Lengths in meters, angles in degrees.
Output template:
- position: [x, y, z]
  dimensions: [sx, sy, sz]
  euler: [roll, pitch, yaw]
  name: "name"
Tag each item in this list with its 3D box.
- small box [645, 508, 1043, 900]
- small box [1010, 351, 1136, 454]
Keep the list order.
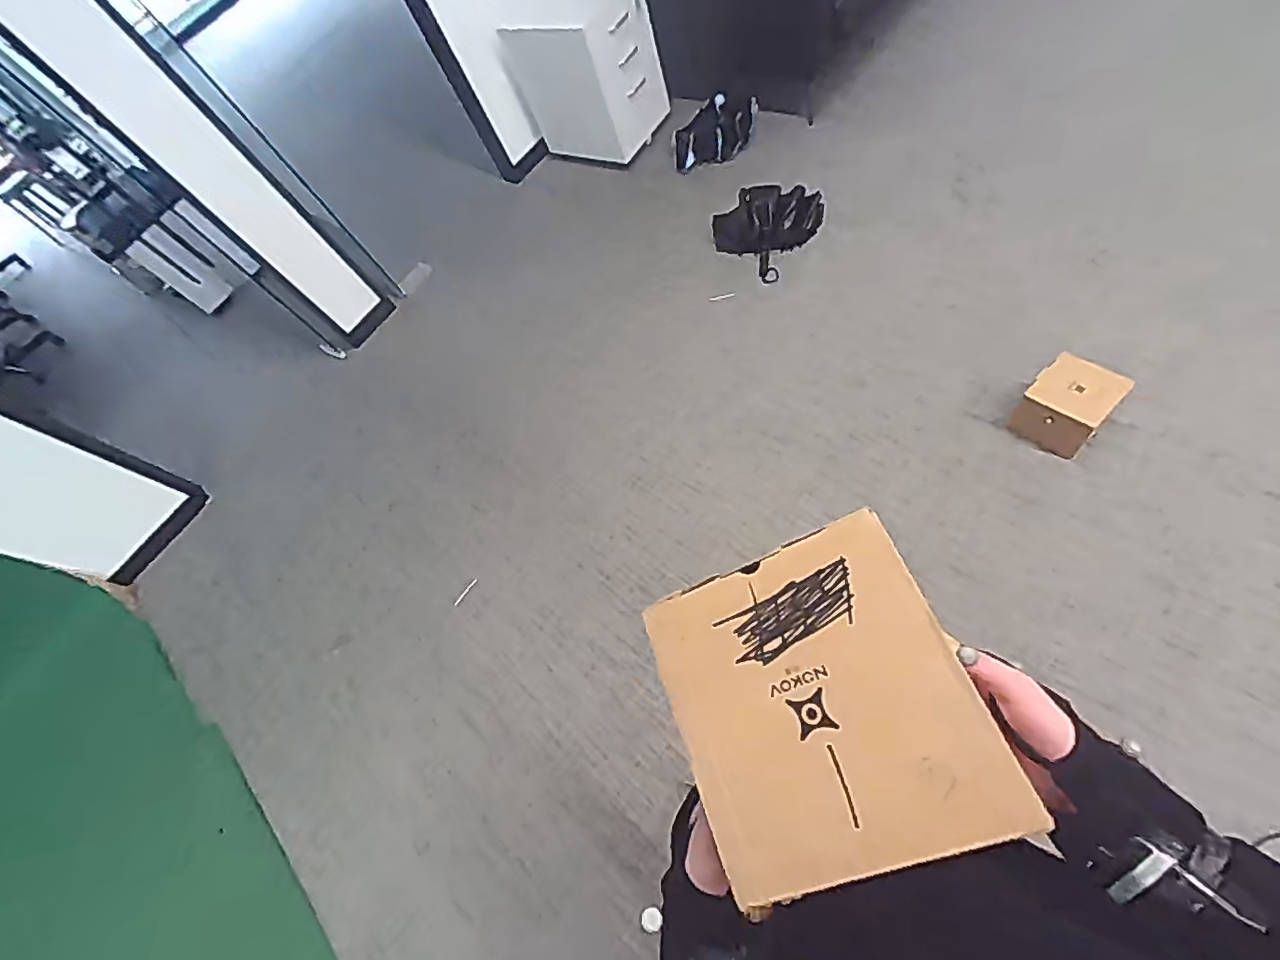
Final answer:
- position: [0.130, 0.148, 0.380]
  dimensions: [0.168, 0.176, 0.179]
  euler: [-29, 62, 17]
  name: "small box"
- position: [1.116, -0.197, 1.414]
  dimensions: [0.168, 0.176, 0.179]
  euler: [-46, 60, -6]
  name: "small box"
